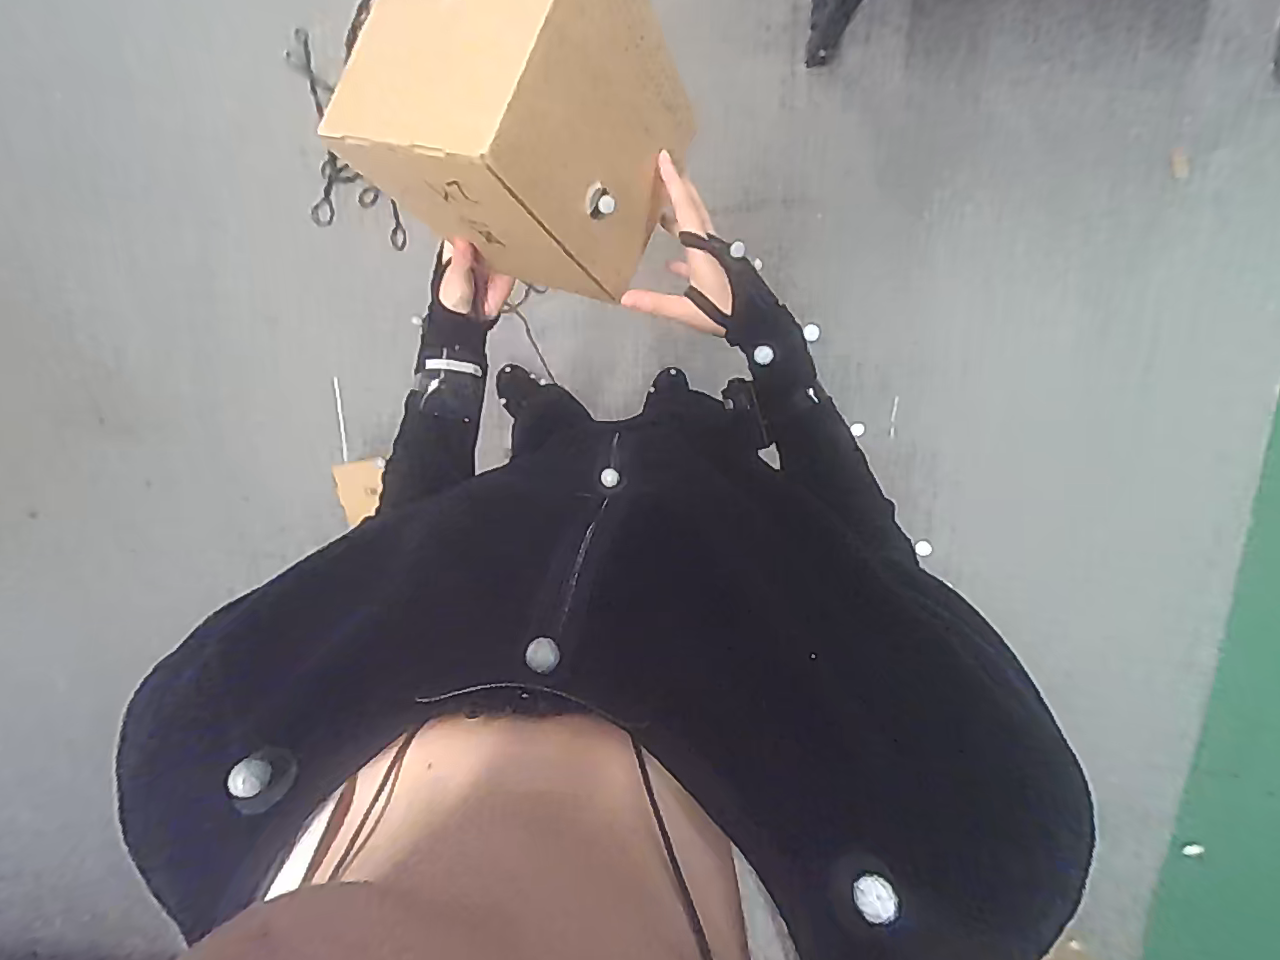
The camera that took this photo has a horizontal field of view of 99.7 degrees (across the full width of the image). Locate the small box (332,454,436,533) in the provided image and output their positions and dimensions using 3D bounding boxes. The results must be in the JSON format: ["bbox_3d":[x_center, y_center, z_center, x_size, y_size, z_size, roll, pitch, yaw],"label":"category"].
[{"bbox_3d":[-0.675,0.031,1.444,0.179,0.176,0.168,-9,102,3],"label":"small box"}]

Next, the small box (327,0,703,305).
[{"bbox_3d":[-0.073,-0.261,0.397,0.168,0.179,0.176,23,89,25],"label":"small box"}]
